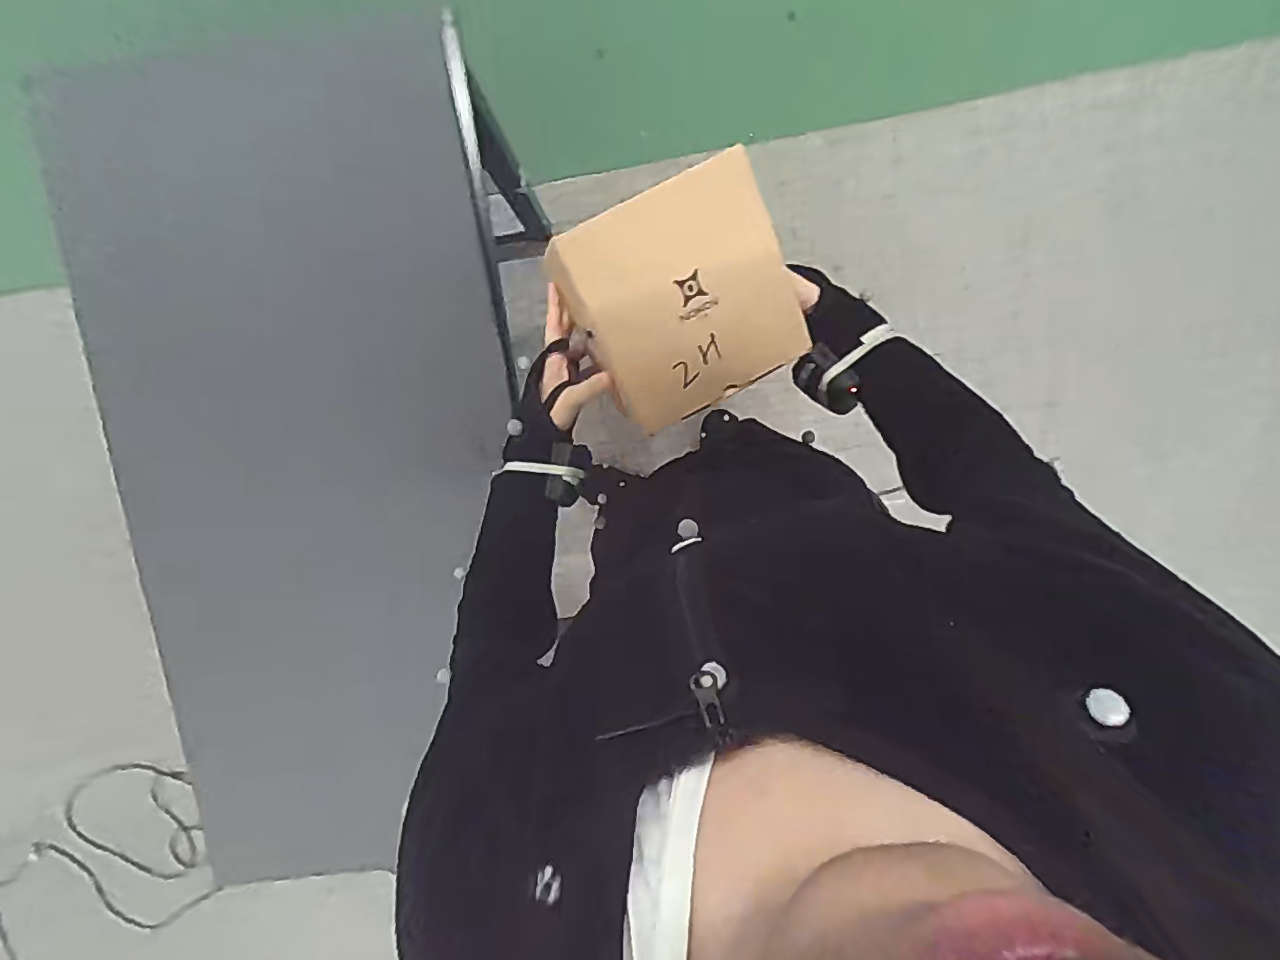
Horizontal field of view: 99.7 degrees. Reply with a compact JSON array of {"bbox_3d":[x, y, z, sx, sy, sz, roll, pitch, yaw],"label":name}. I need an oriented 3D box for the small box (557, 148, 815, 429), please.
[{"bbox_3d":[0.032,-0.172,0.516,0.168,0.176,0.179,-27,111,-4],"label":"small box"}]
